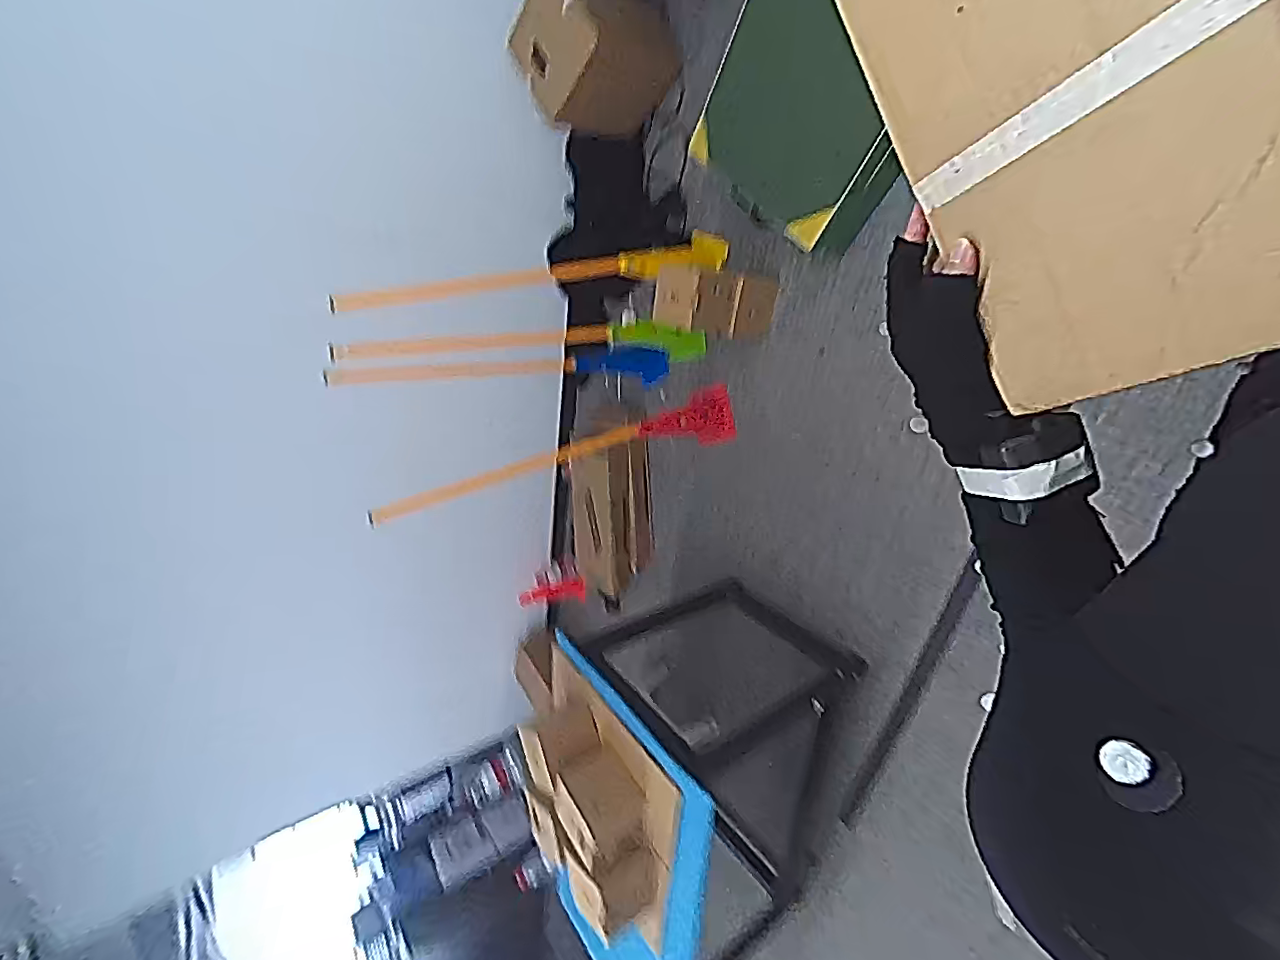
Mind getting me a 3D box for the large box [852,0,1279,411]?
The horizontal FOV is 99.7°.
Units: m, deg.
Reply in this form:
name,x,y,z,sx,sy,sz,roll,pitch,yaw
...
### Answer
name,x,y,z,sx,sy,sz,roll,pitch,yaw
large box,0.410,-0.276,0.275,0.408,0.320,0.320,-19,94,57
